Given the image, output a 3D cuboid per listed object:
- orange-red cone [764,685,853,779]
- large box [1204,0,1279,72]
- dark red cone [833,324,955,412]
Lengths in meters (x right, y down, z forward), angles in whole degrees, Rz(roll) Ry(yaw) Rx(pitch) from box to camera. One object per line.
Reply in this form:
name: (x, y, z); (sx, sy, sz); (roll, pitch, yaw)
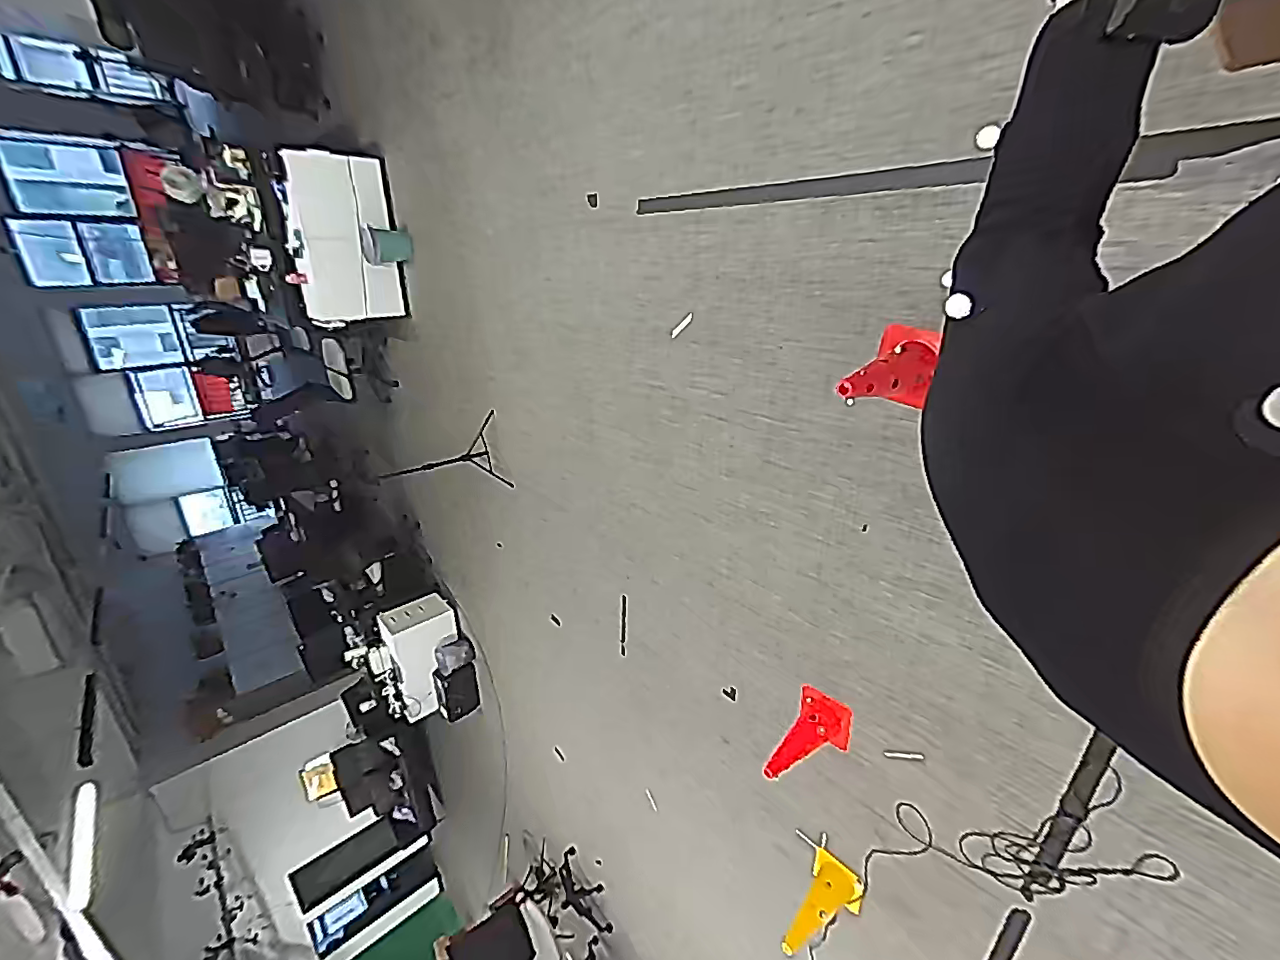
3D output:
orange-red cone: (0.556, 0.918, 1.880); (0.198, 0.360, 0.199); (21, 122, 46)
large box: (0.560, -0.442, 0.227); (0.408, 0.320, 0.320); (17, 120, 44)
dark red cone: (0.581, -0.253, 1.314); (0.201, 0.394, 0.202); (29, 126, 39)
